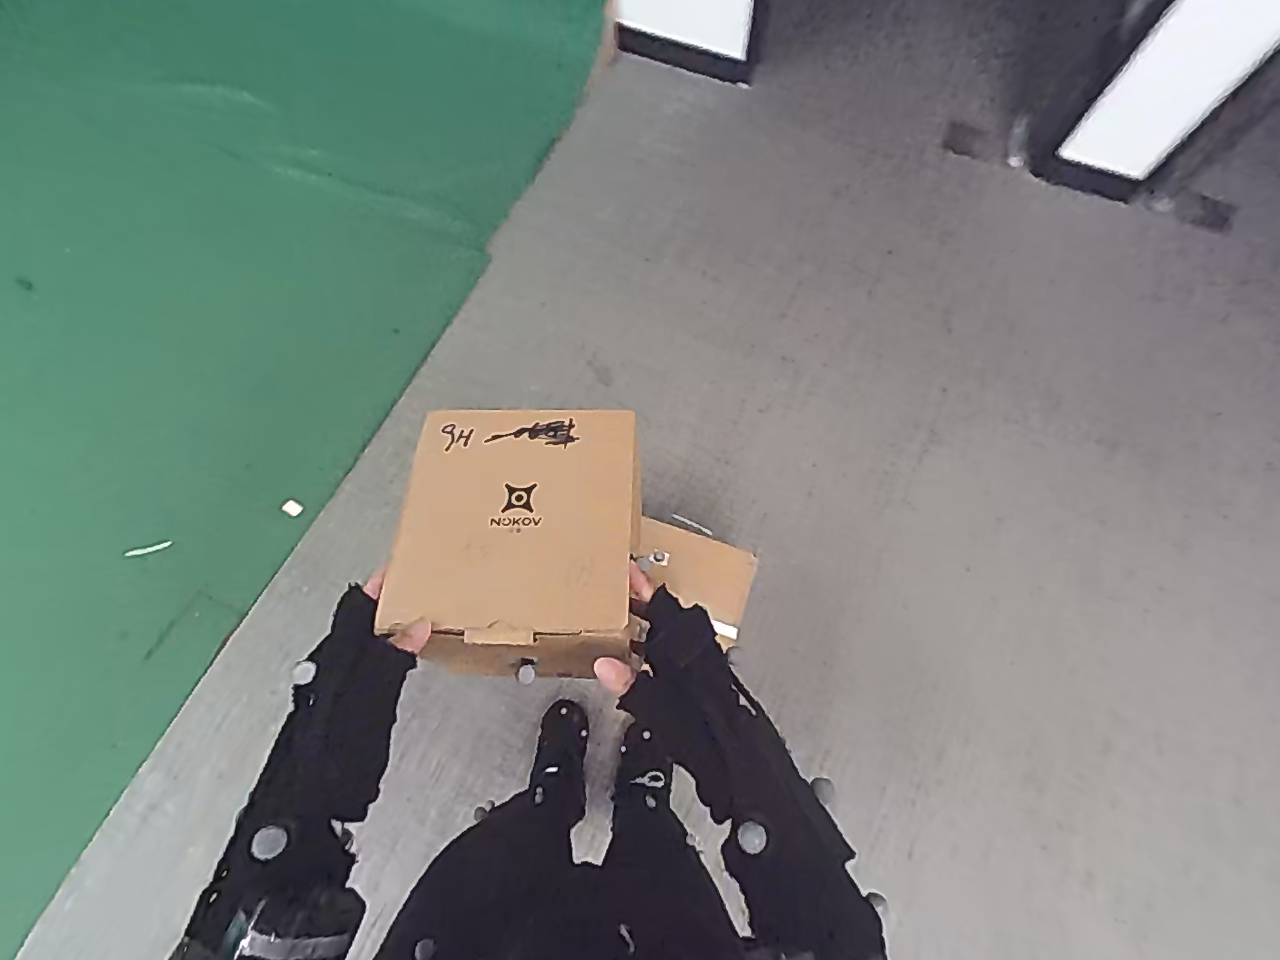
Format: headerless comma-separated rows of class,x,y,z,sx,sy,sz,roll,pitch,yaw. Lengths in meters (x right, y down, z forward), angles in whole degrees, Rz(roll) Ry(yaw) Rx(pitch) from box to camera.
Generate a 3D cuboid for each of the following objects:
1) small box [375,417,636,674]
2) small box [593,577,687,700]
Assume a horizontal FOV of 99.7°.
small box,-0.090,0.065,0.462,0.168,0.176,0.179,0,62,2
small box,-0.030,0.253,0.928,0.179,0.176,0.168,23,75,11
